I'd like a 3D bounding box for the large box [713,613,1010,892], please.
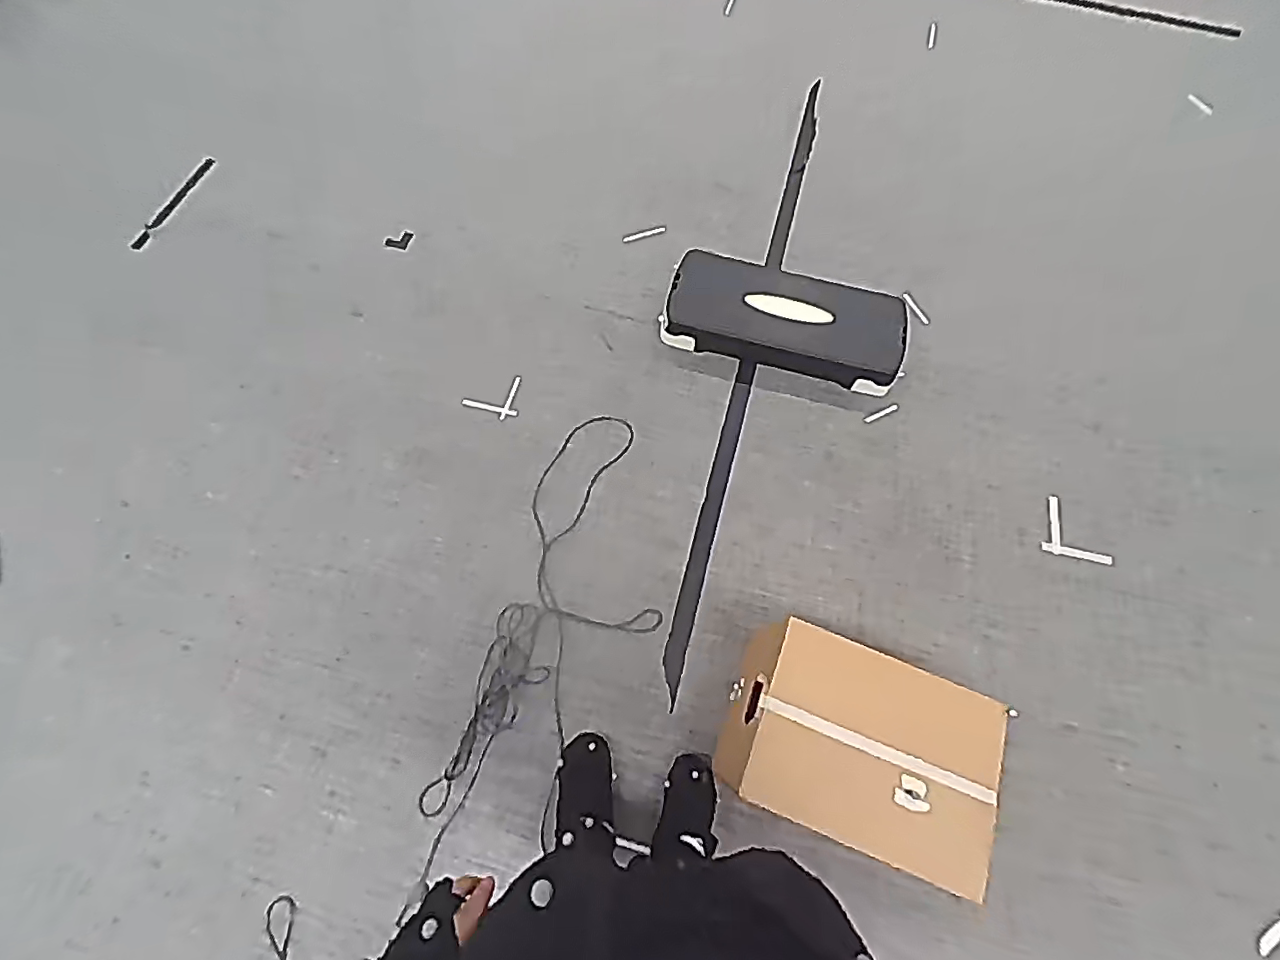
[{"bbox_3d":[0.395,0.491,1.038,0.408,0.320,0.320,22,70,5],"label":"large box"}]
